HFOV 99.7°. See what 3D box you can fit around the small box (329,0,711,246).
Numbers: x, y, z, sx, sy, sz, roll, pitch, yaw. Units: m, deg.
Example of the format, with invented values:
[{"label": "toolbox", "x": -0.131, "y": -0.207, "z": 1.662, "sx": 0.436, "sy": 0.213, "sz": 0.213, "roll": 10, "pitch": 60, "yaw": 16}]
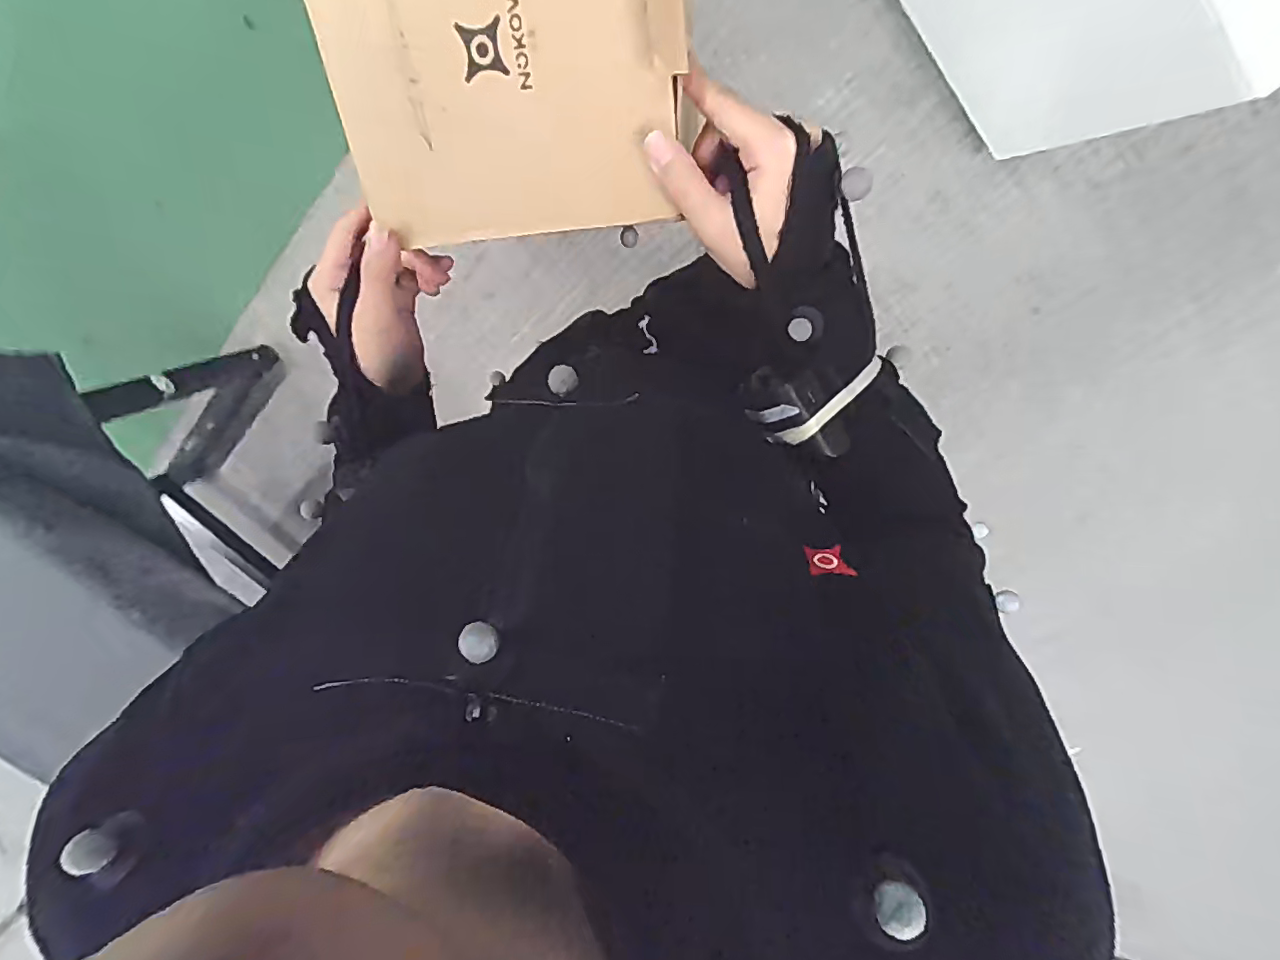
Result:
[{"label": "small box", "x": -0.048, "y": -0.242, "z": 0.323, "sx": 0.179, "sy": 0.176, "sz": 0.168, "roll": -2, "pitch": 116, "yaw": 11}]
